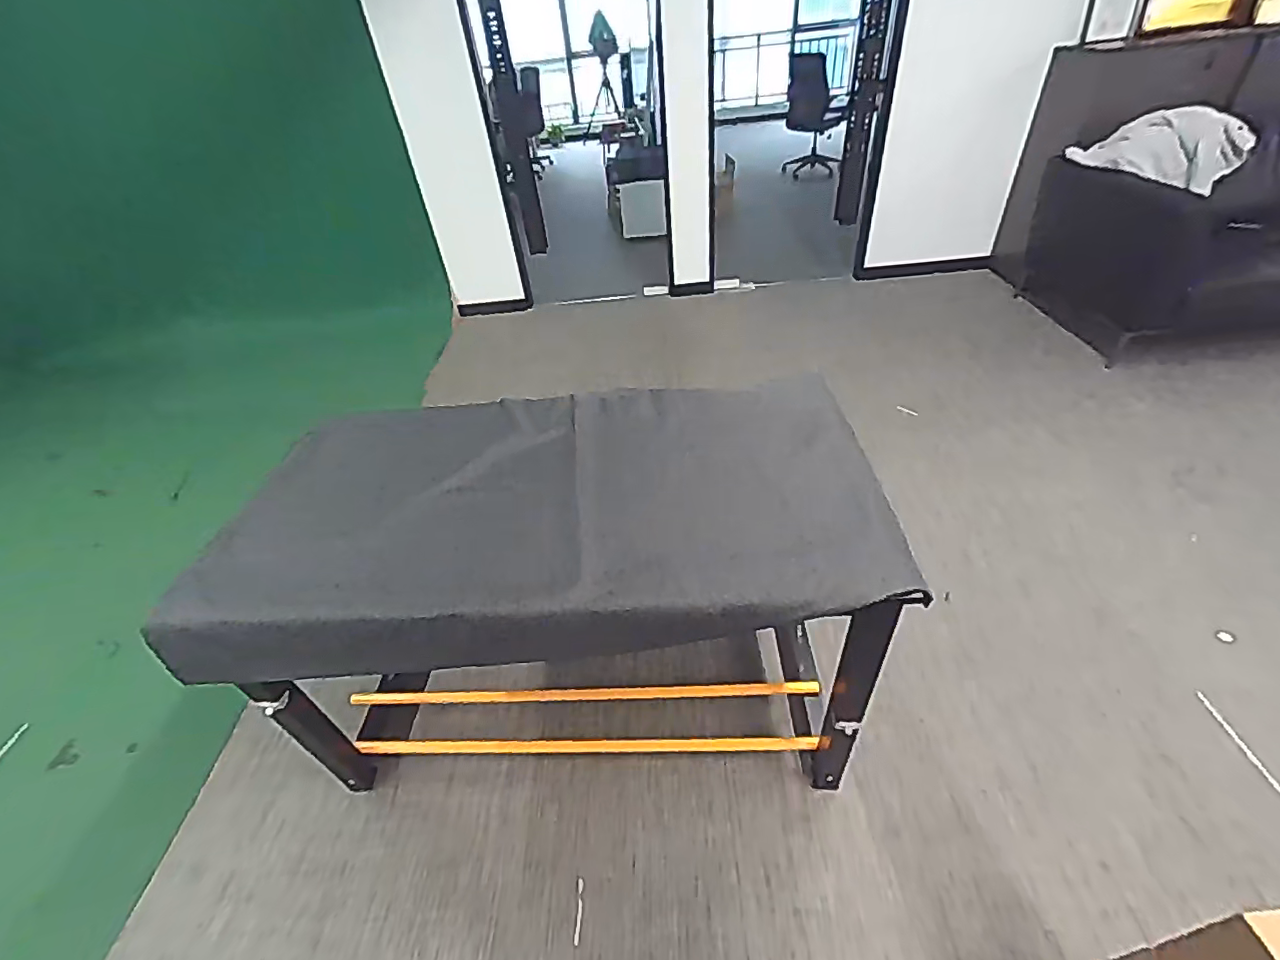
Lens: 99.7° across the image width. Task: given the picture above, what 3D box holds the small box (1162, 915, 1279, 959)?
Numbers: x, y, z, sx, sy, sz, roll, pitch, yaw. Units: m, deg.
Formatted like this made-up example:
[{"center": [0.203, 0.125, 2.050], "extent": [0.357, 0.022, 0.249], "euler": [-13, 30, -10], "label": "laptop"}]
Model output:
[{"center": [0.686, 0.543, 0.520], "extent": [0.168, 0.176, 0.179], "euler": [-6, 39, 0], "label": "small box"}]
